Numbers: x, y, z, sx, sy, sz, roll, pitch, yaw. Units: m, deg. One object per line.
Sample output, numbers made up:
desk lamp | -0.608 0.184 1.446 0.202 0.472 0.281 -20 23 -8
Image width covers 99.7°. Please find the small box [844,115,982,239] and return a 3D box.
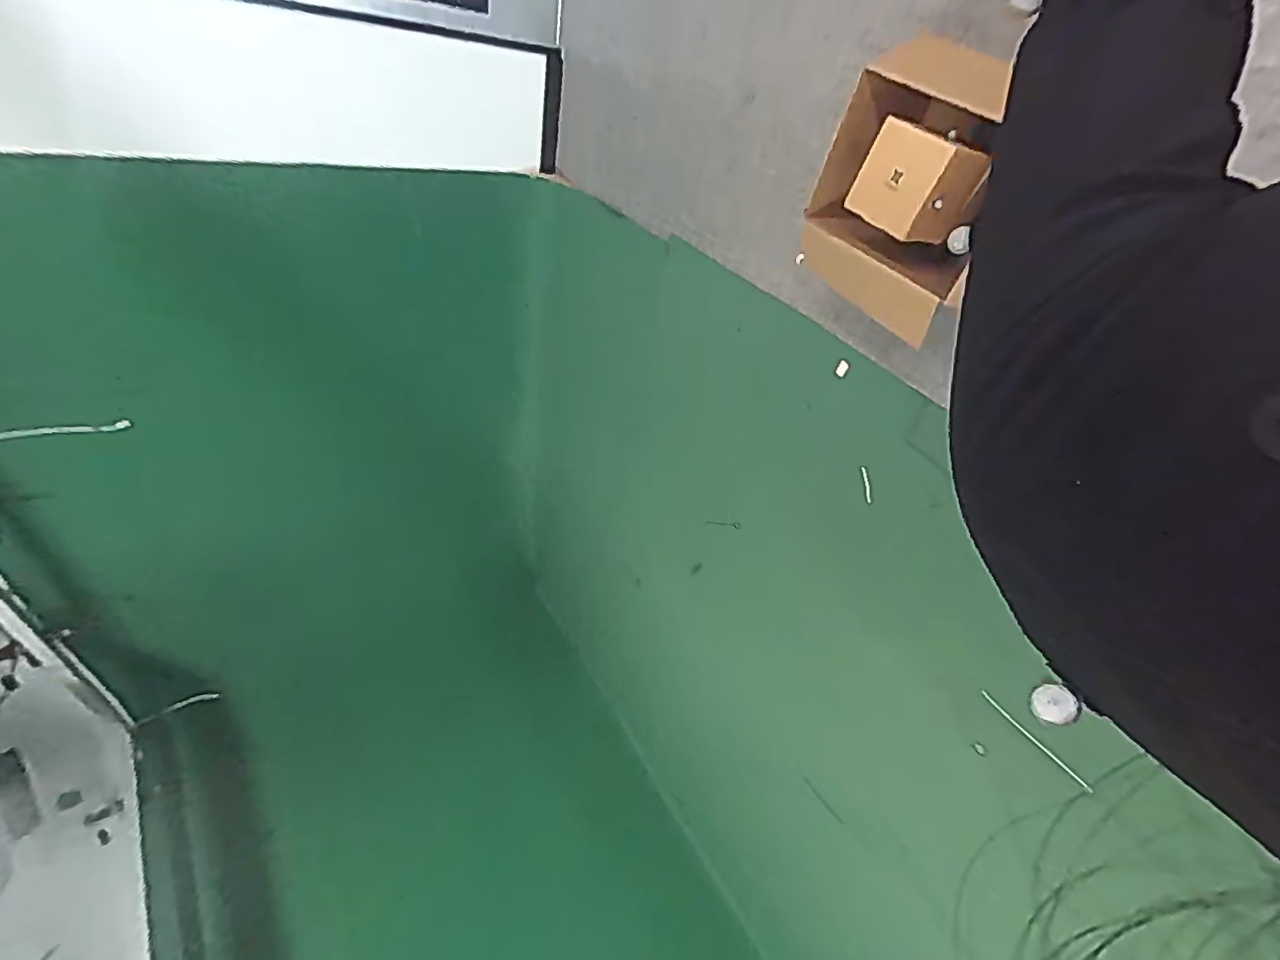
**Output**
small box | 0.572 -0.625 1.127 0.168 0.176 0.179 51 140 29
